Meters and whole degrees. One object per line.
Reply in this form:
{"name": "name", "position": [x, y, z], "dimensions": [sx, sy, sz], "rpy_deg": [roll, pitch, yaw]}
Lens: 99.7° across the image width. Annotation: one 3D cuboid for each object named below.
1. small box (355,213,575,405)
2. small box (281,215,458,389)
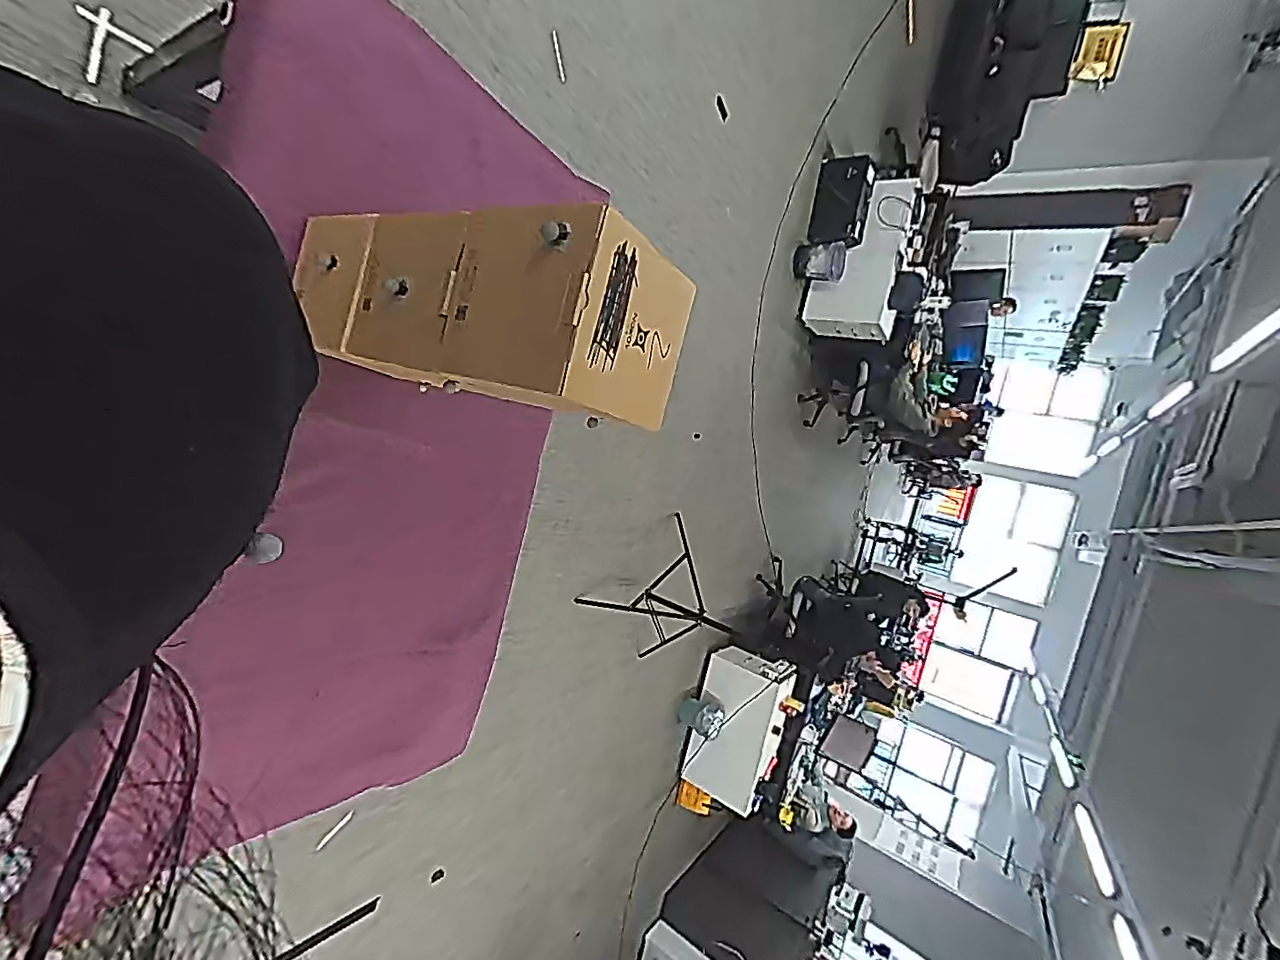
{"name": "small box", "position": [-0.211, -0.198, 0.656], "dimensions": [0.179, 0.176, 0.168], "rpy_deg": [9, 96, -58]}
{"name": "small box", "position": [-0.349, -0.234, 0.738], "dimensions": [0.179, 0.176, 0.168], "rpy_deg": [13, 92, -59]}
